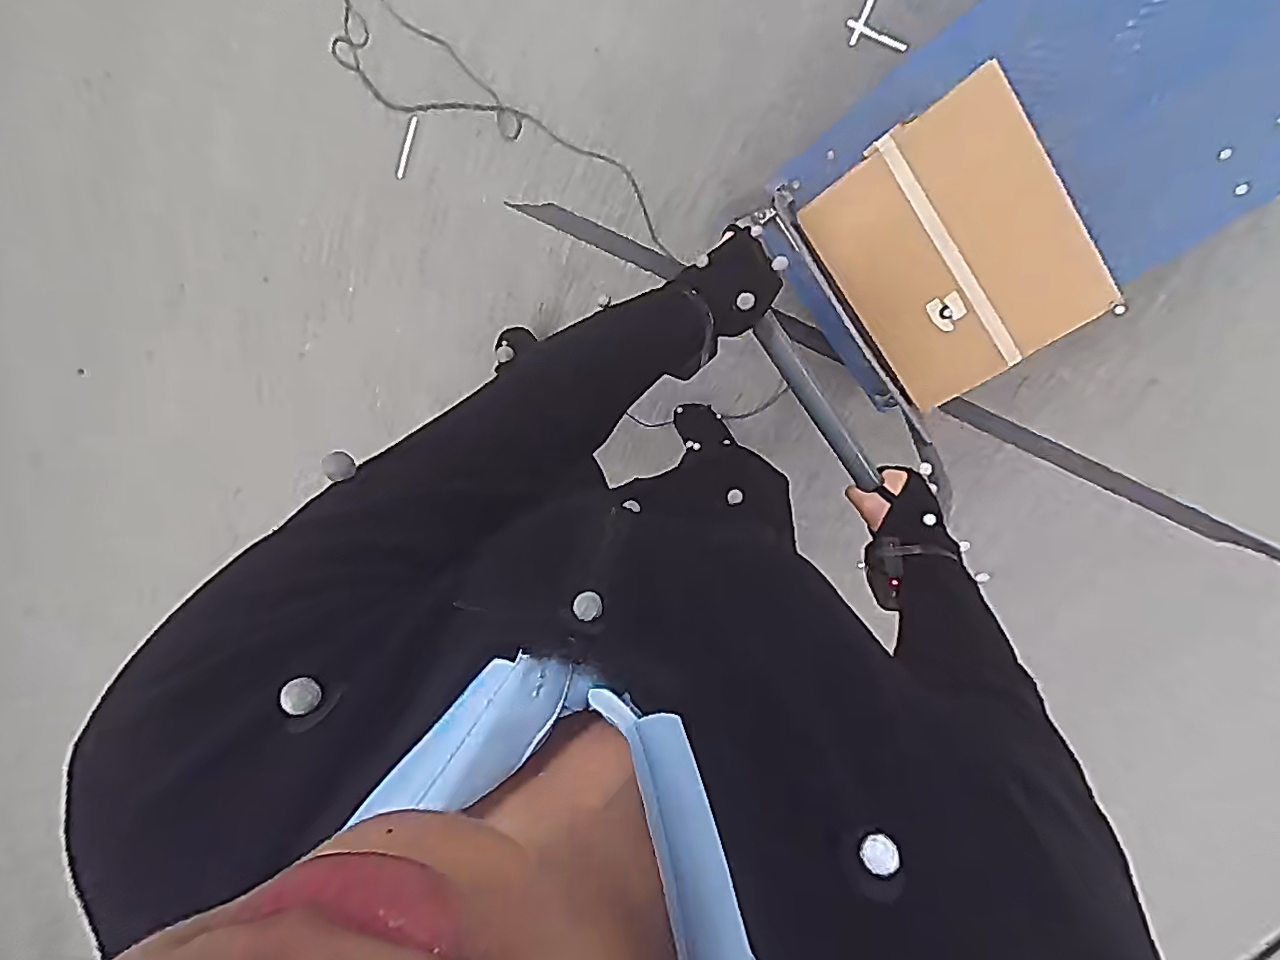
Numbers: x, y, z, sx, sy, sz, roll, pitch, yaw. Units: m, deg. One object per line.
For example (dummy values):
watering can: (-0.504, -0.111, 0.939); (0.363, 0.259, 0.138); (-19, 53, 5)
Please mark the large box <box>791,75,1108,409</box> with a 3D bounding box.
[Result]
large box: (0.519, -0.409, 0.989); (0.320, 0.320, 0.408); (-33, 103, 26)
